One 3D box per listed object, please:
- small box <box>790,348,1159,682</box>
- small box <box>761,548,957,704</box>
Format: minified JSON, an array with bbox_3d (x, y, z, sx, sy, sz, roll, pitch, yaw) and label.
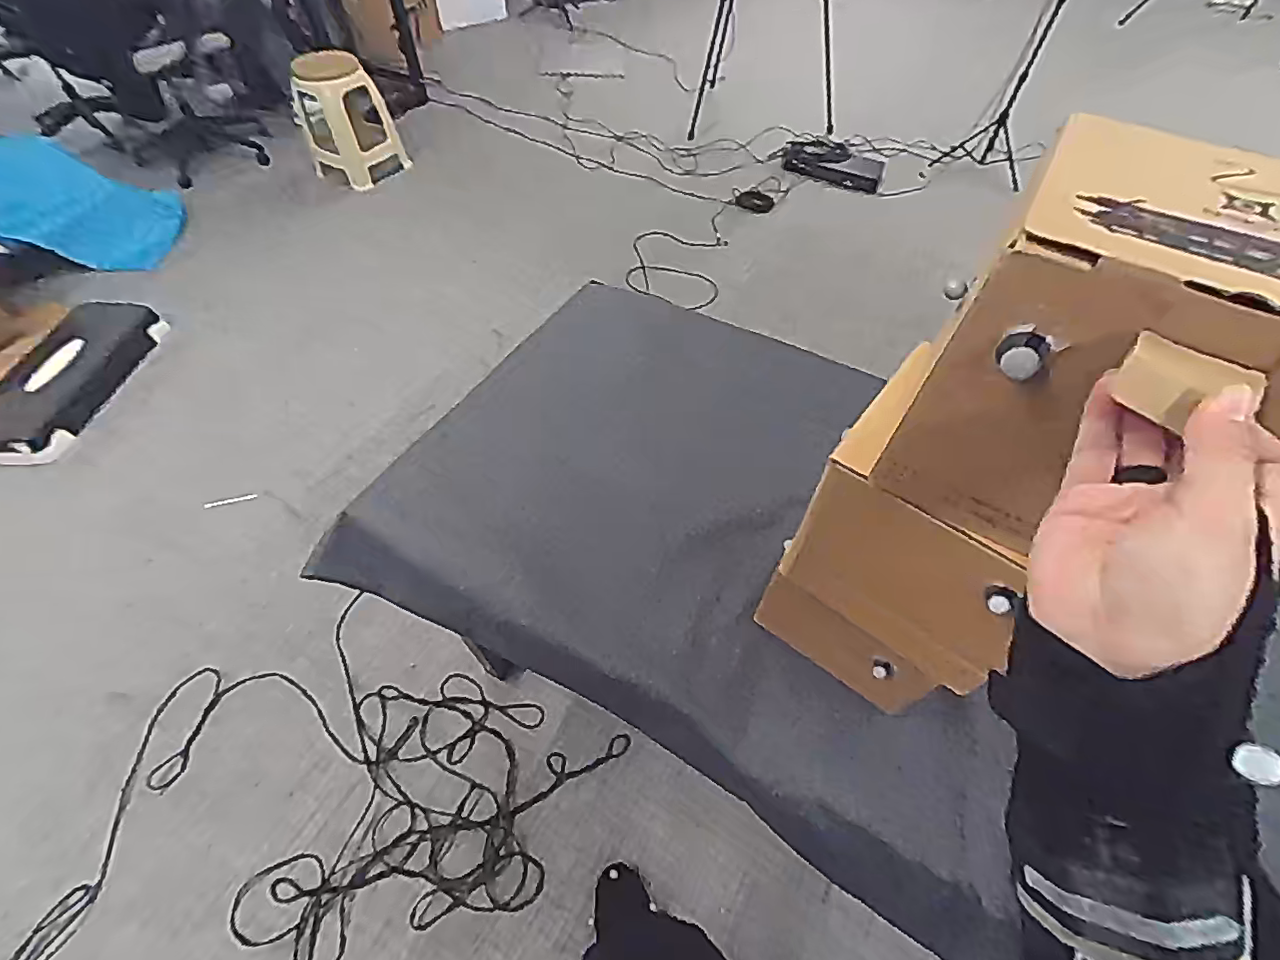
[{"bbox_3d":[0.247,0.031,0.439,0.179,0.176,0.168,34,59,21],"label":"small box"},{"bbox_3d":[0.256,0.113,0.580,0.179,0.176,0.168,32,58,22],"label":"small box"}]
